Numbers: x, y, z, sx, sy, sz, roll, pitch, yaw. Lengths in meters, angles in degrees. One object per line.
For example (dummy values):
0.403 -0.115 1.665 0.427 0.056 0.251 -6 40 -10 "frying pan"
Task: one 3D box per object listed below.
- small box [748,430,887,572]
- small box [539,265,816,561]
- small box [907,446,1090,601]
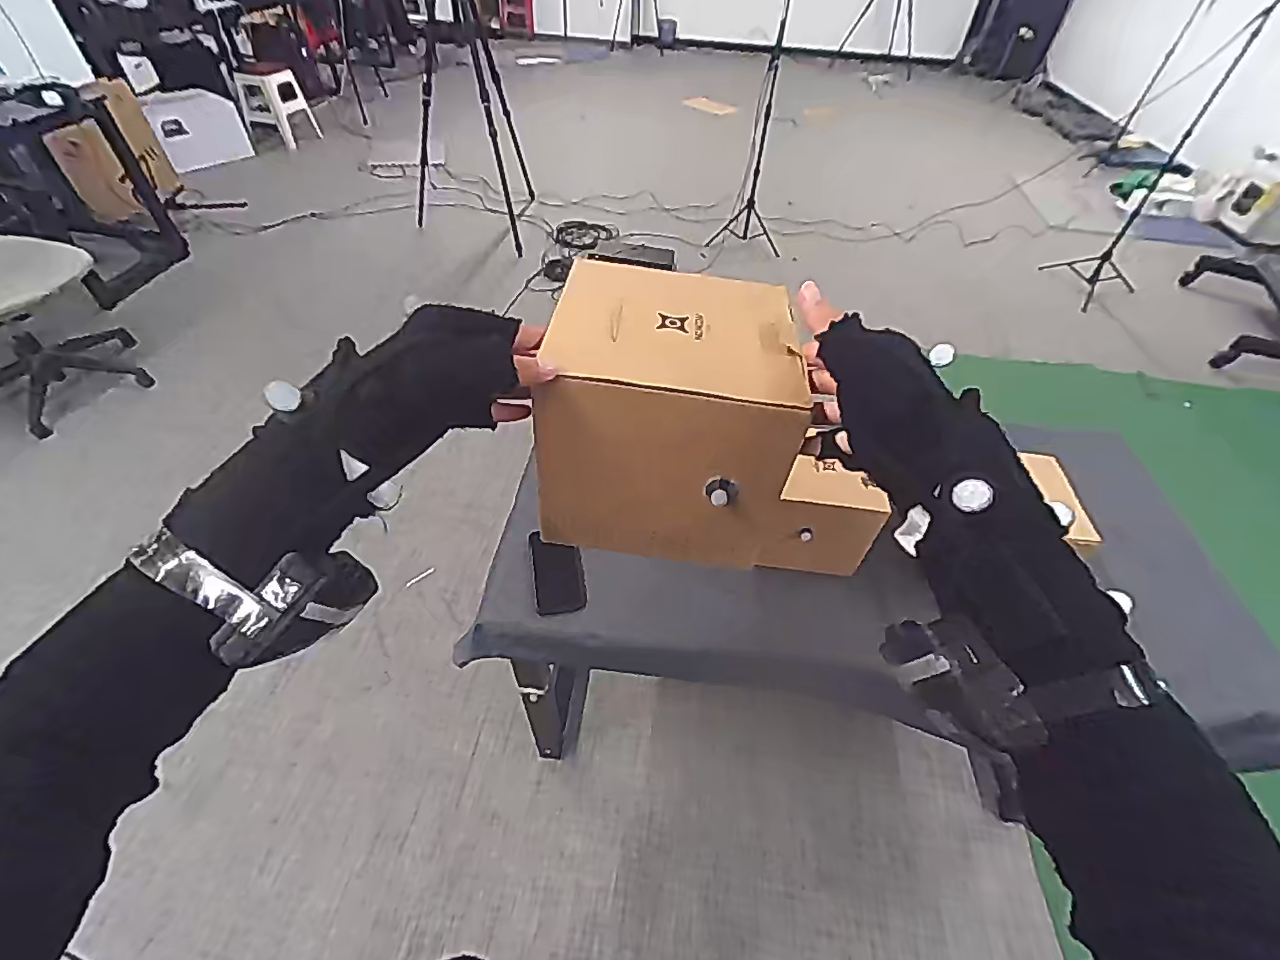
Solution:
0.275 0.034 0.889 0.179 0.176 0.168 6 47 3 "small box"
0.023 -0.051 0.444 0.179 0.176 0.168 6 45 0 "small box"
0.558 0.073 0.873 0.168 0.176 0.179 9 46 4 "small box"
